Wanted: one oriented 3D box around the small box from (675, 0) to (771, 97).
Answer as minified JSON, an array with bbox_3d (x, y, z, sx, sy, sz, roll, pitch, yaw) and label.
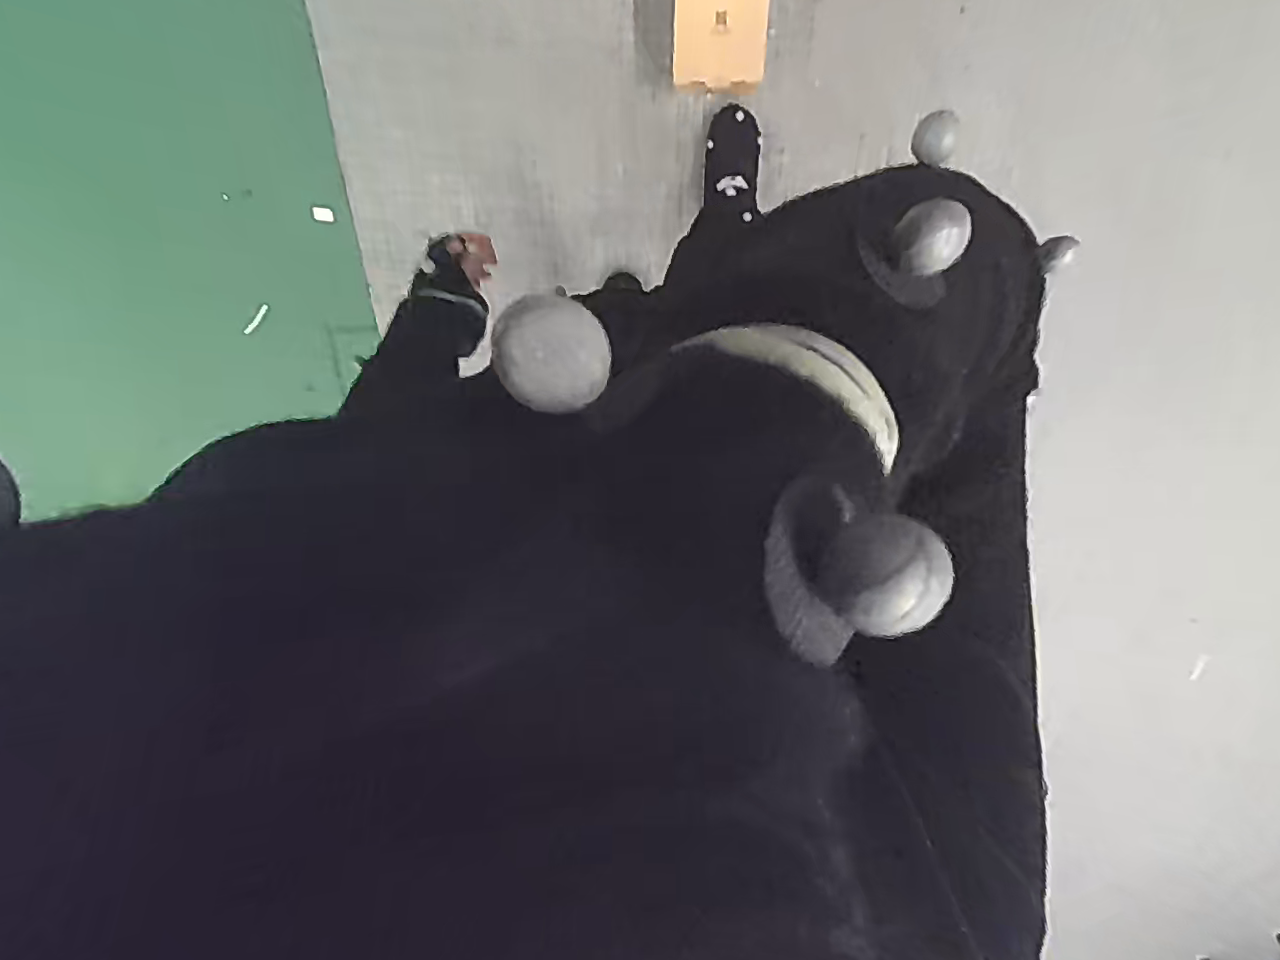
[{"bbox_3d":[0.151,-0.845,1.027,0.168,0.176,0.179,2,120,4],"label":"small box"}]
